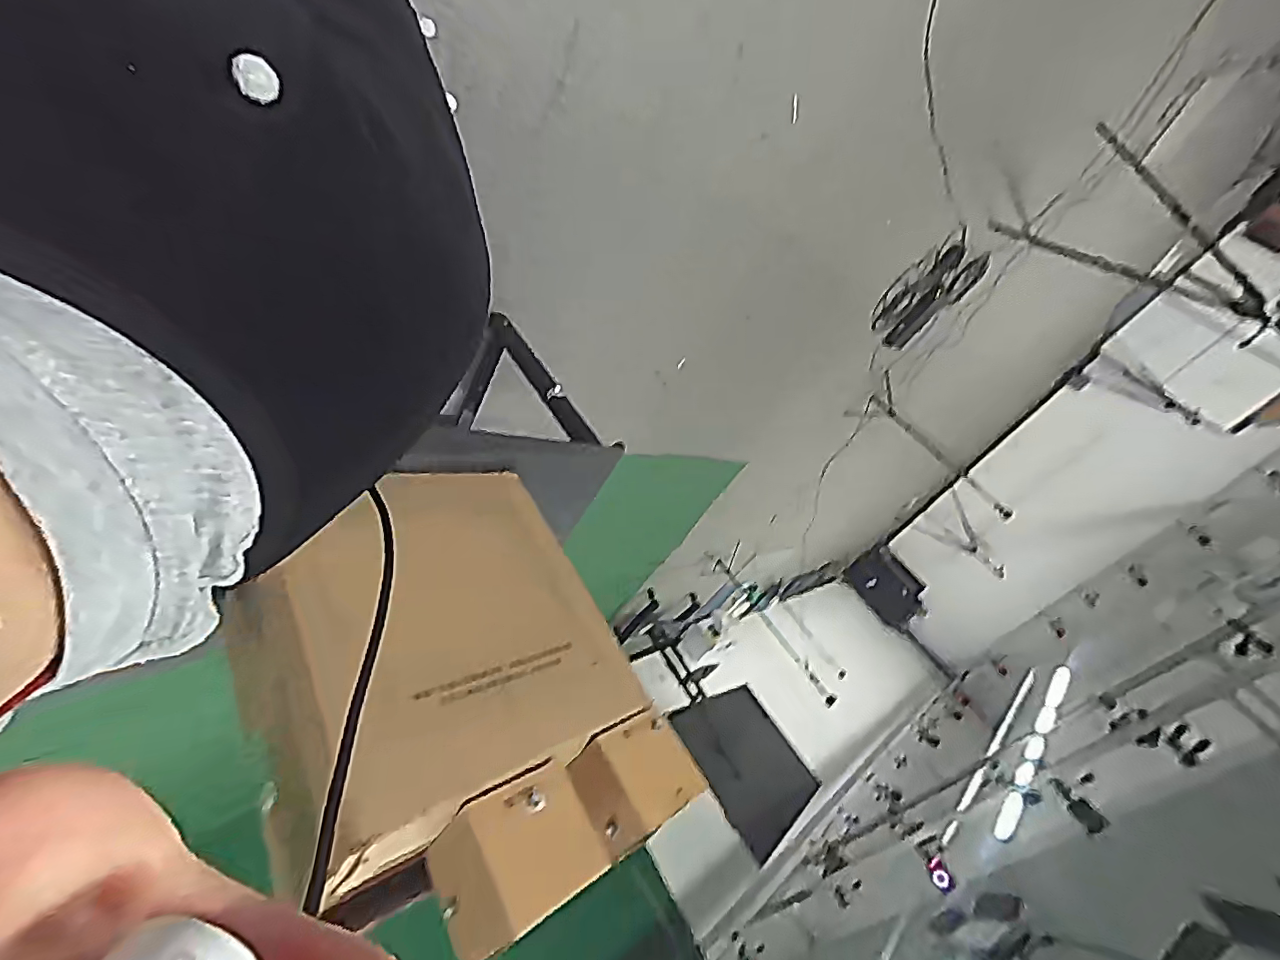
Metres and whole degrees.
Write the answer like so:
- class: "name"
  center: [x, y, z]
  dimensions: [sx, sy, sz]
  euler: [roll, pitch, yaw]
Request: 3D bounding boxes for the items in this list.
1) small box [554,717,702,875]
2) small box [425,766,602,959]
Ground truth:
- class: "small box"
  center: [-0.030, 0.551, 0.966]
  dimensions: [0.168, 0.176, 0.179]
  euler: [-1, 136, -50]
- class: "small box"
  center: [-0.192, 0.558, 0.790]
  dimensions: [0.168, 0.176, 0.179]
  euler: [-2, 136, -48]
